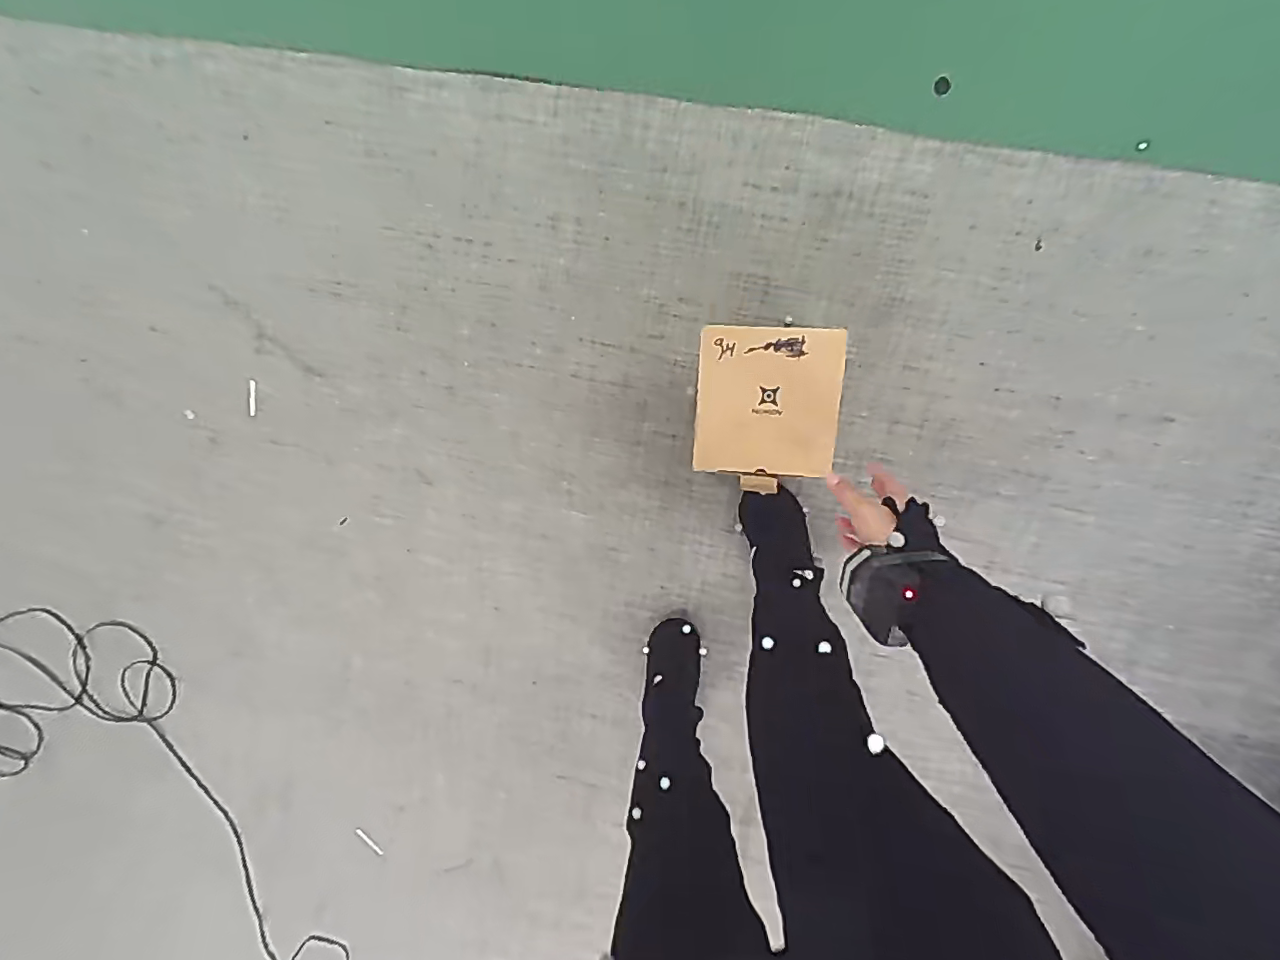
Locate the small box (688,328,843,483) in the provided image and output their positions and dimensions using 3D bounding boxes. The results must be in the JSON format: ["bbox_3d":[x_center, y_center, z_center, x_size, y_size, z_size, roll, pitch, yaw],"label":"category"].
[{"bbox_3d":[0.154,-0.106,0.711,0.168,0.176,0.179,4,105,6],"label":"small box"}]
